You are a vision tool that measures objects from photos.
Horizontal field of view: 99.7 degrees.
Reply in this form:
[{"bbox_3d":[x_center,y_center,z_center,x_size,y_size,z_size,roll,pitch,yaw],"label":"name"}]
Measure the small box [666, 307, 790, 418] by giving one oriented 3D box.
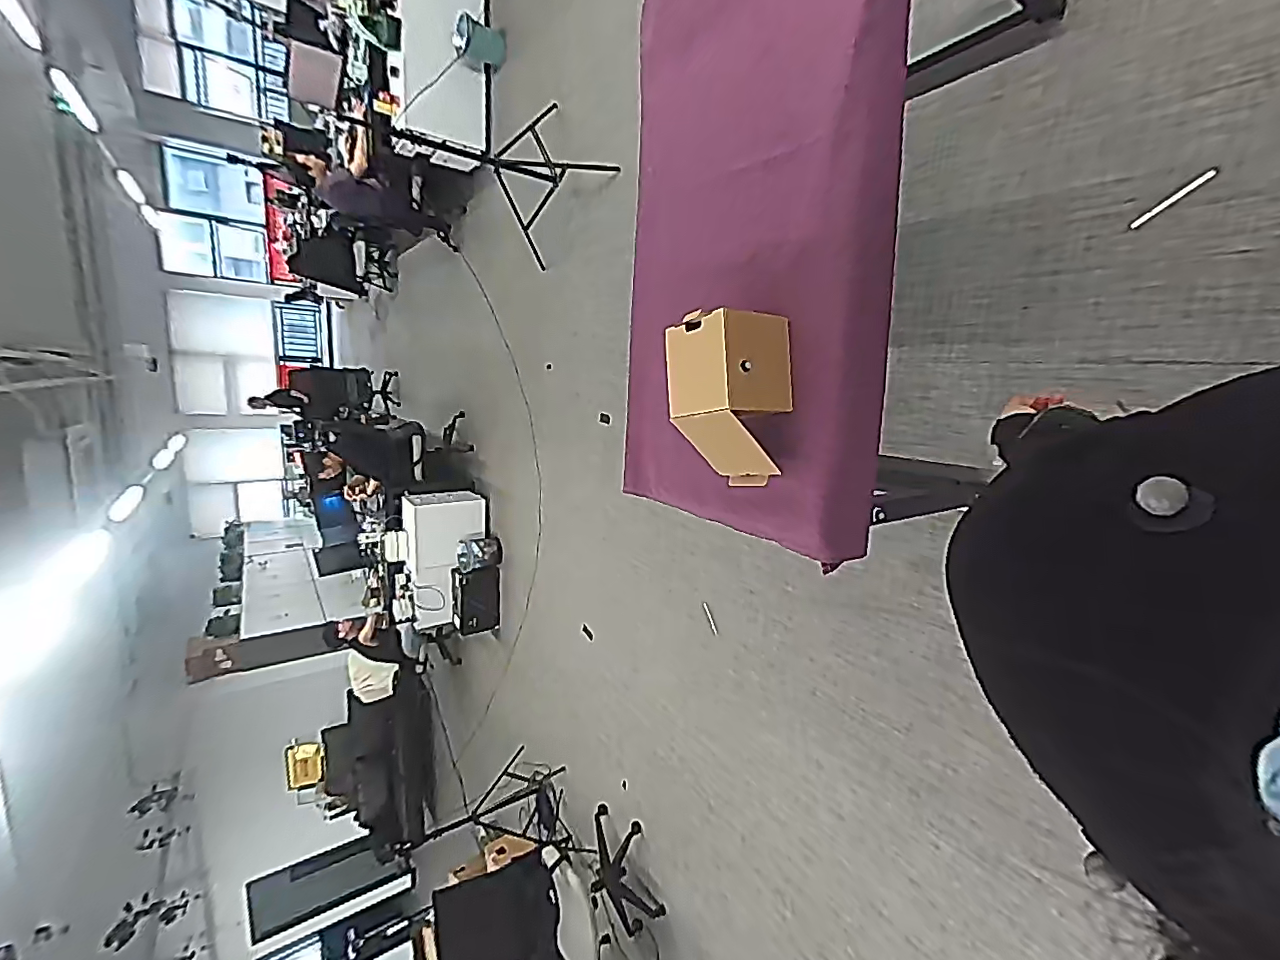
[{"bbox_3d":[0.167,-0.212,1.017,0.168,0.176,0.179,0,94,55],"label":"small box"}]
